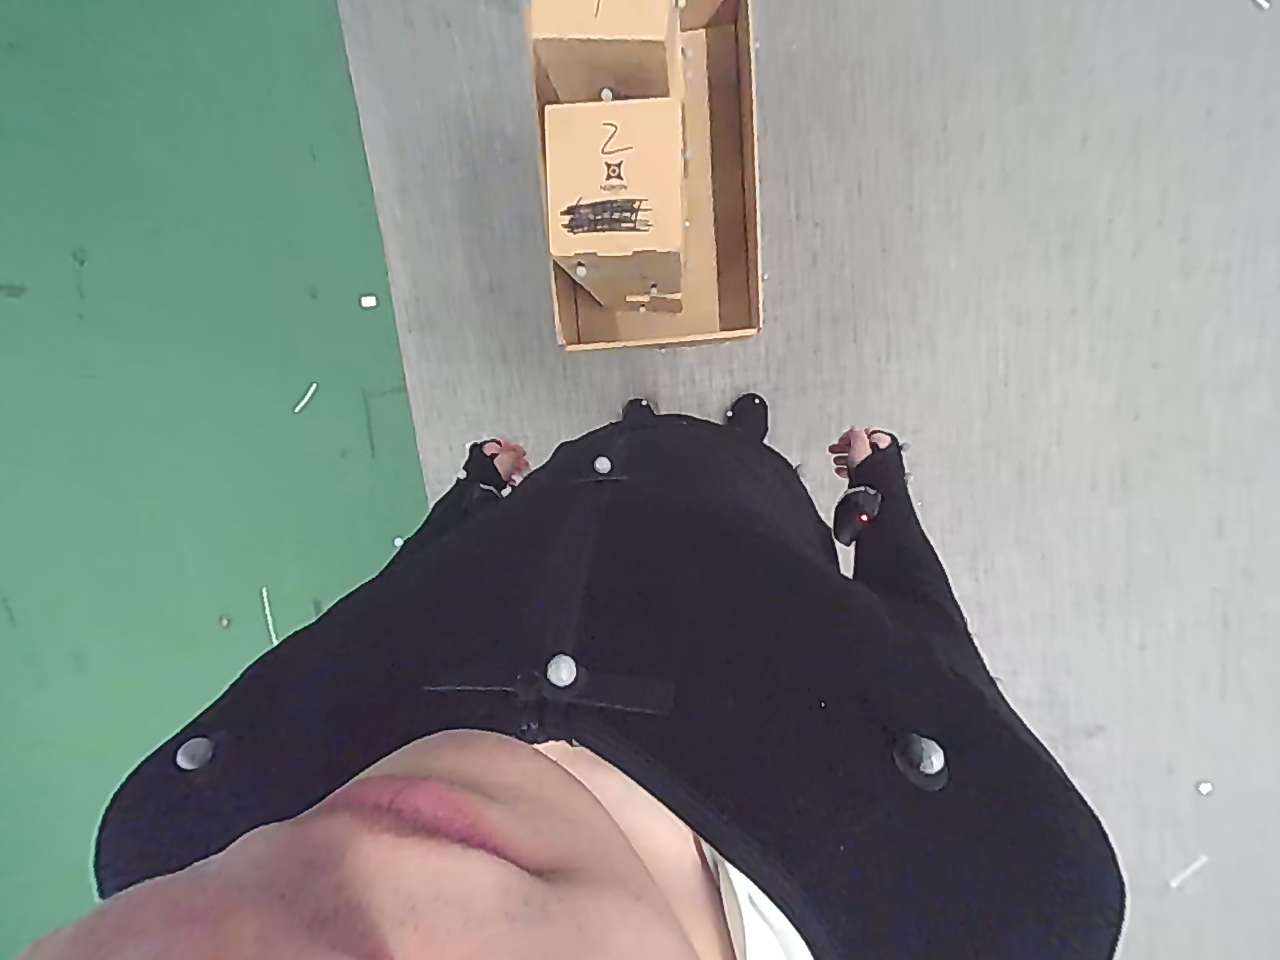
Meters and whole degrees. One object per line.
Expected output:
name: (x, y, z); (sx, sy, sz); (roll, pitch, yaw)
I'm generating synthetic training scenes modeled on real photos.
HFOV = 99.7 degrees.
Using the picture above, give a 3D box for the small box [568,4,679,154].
small box: (-0.027, -0.650, 0.861); (0.168, 0.176, 0.179); (-5, 101, 6)

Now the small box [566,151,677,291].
small box: (-0.024, -0.416, 0.898); (0.168, 0.176, 0.179); (0, 99, 5)

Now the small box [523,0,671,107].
small box: (-0.047, -0.623, 0.700); (0.168, 0.176, 0.179); (4, 103, 4)
